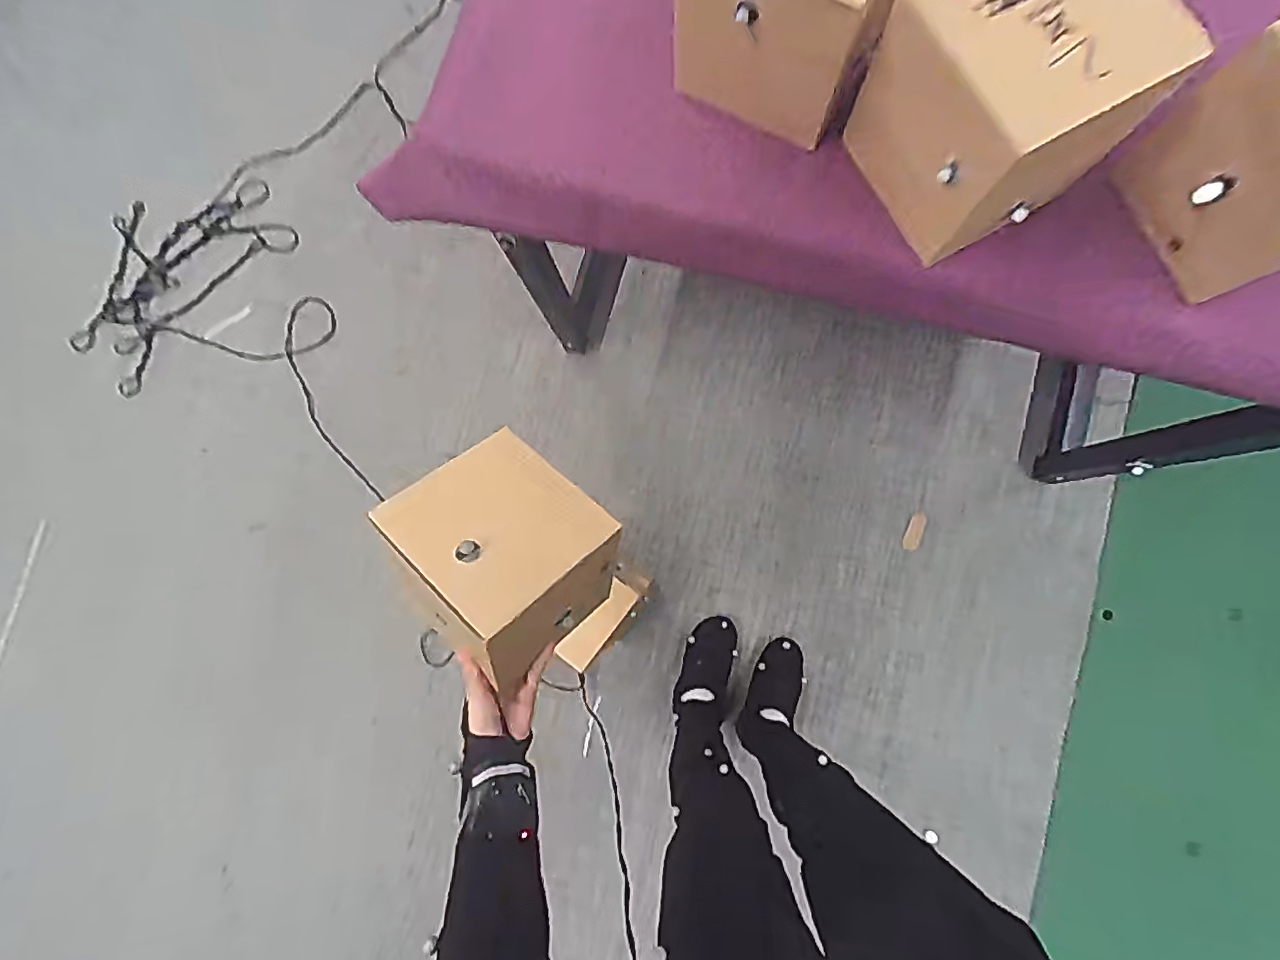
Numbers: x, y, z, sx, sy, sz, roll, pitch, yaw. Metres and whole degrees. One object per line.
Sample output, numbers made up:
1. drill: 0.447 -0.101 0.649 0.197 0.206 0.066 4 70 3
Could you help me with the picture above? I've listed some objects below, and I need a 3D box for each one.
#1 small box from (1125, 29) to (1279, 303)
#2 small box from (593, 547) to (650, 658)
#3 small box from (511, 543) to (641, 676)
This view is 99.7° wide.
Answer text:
1. small box: 0.592 -0.287 0.477 0.179 0.176 0.168 -23 81 2
2. small box: -0.089 0.260 1.198 0.168 0.176 0.179 31 87 8
3. small box: -0.110 0.239 1.039 0.168 0.176 0.179 37 87 9
